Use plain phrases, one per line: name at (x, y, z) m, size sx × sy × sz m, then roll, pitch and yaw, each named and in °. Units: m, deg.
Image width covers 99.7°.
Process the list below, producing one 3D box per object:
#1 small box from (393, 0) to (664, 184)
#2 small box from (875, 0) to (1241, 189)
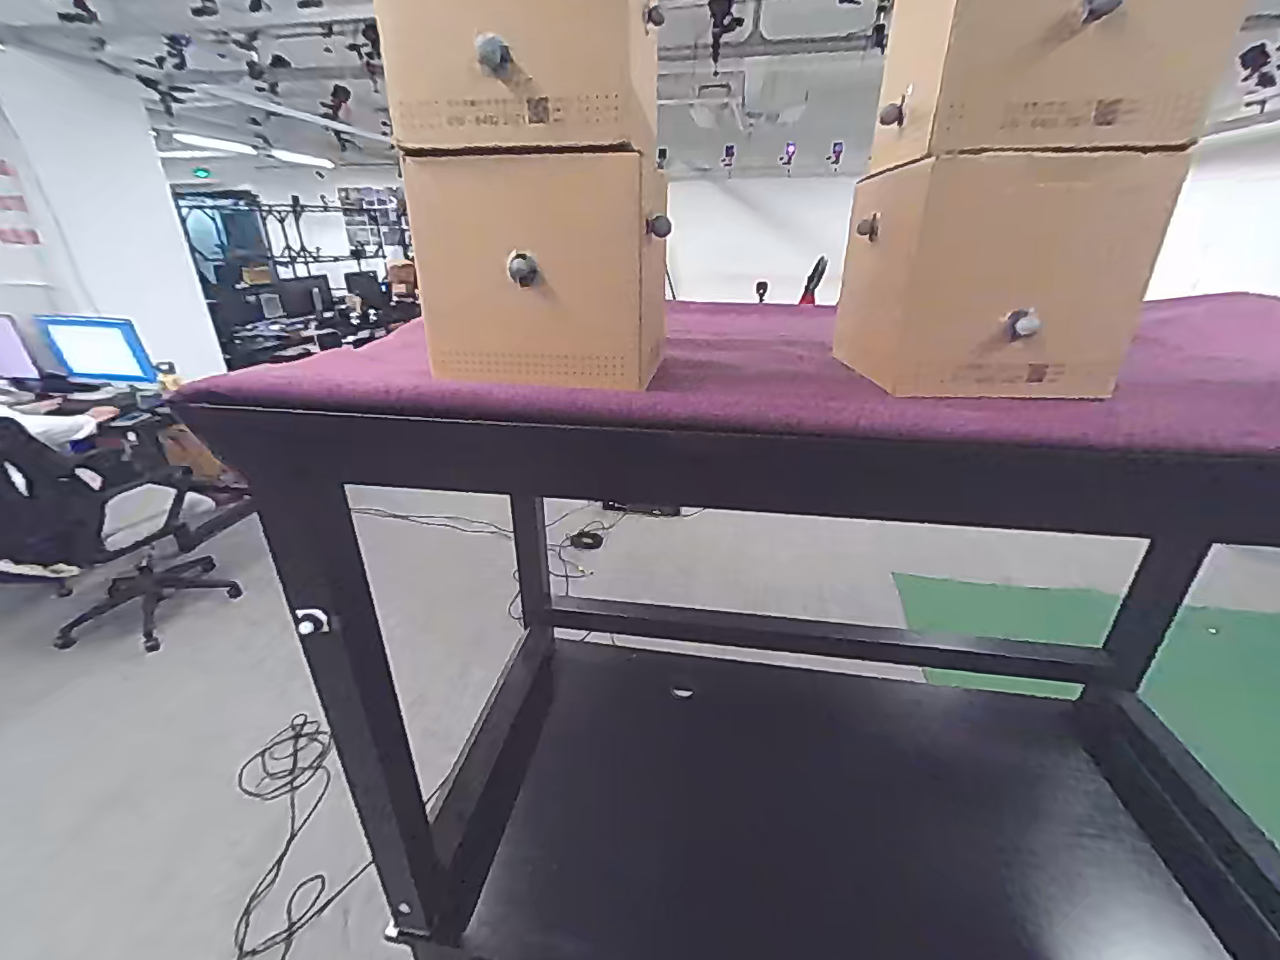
small box at (-0.072, -0.325, 0.406) m, size 0.168 × 0.176 × 0.179 m, roll 2°, pitch 24°, yaw 6°
small box at (0.291, -0.320, 0.401) m, size 0.168 × 0.176 × 0.179 m, roll 3°, pitch 24°, yaw 7°
